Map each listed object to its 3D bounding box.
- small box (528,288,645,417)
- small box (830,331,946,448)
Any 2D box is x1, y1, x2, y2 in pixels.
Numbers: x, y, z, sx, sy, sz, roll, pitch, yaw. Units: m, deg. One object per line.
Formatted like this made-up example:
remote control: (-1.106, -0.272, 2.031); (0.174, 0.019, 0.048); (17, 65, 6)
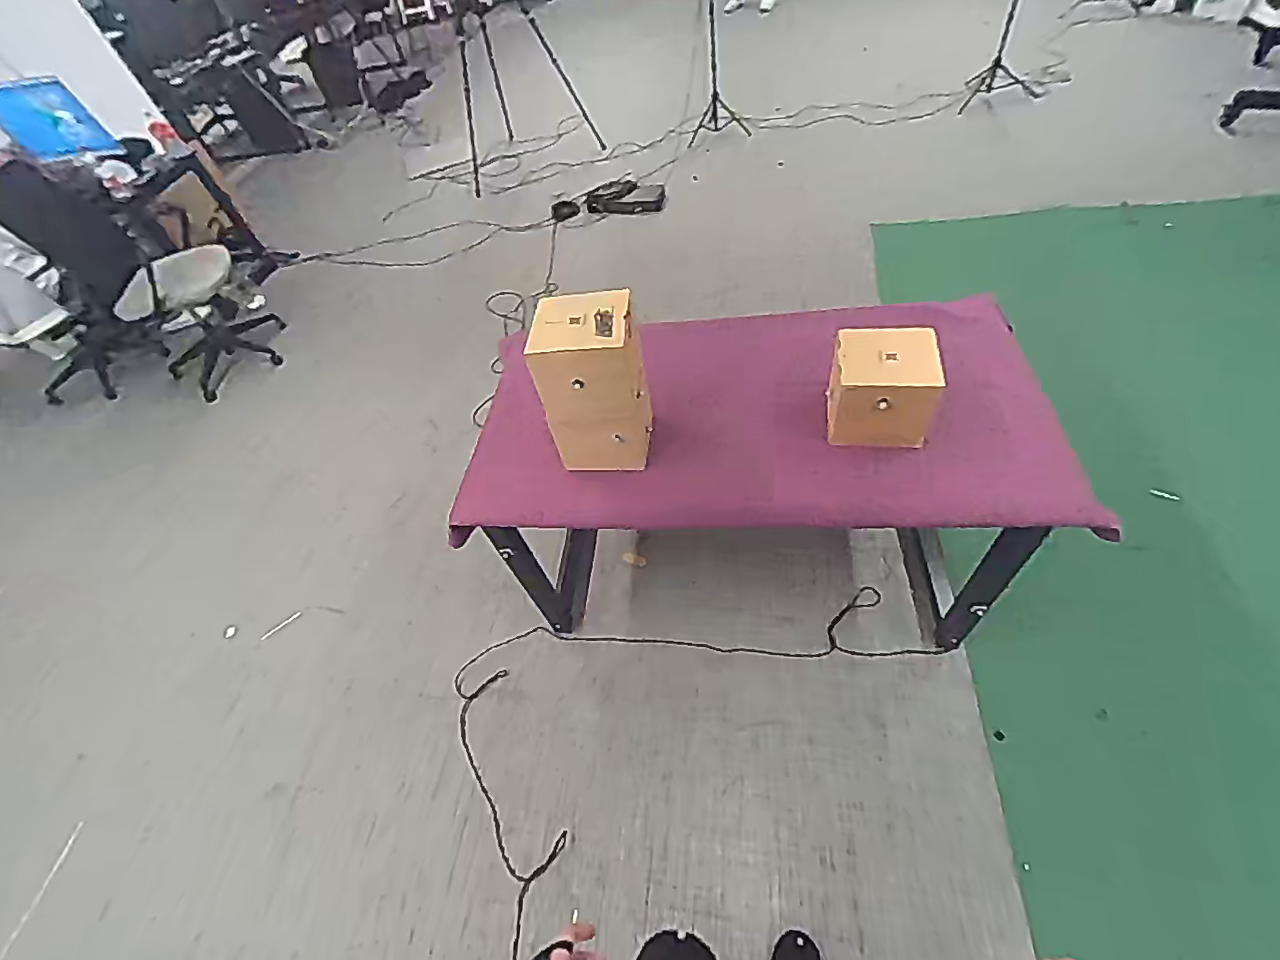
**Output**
small box: (-0.087, -0.232, 1.007); (0.179, 0.176, 0.168); (-2, 52, 9)
small box: (0.482, -0.177, 1.077); (0.179, 0.176, 0.168); (3, 54, 14)
